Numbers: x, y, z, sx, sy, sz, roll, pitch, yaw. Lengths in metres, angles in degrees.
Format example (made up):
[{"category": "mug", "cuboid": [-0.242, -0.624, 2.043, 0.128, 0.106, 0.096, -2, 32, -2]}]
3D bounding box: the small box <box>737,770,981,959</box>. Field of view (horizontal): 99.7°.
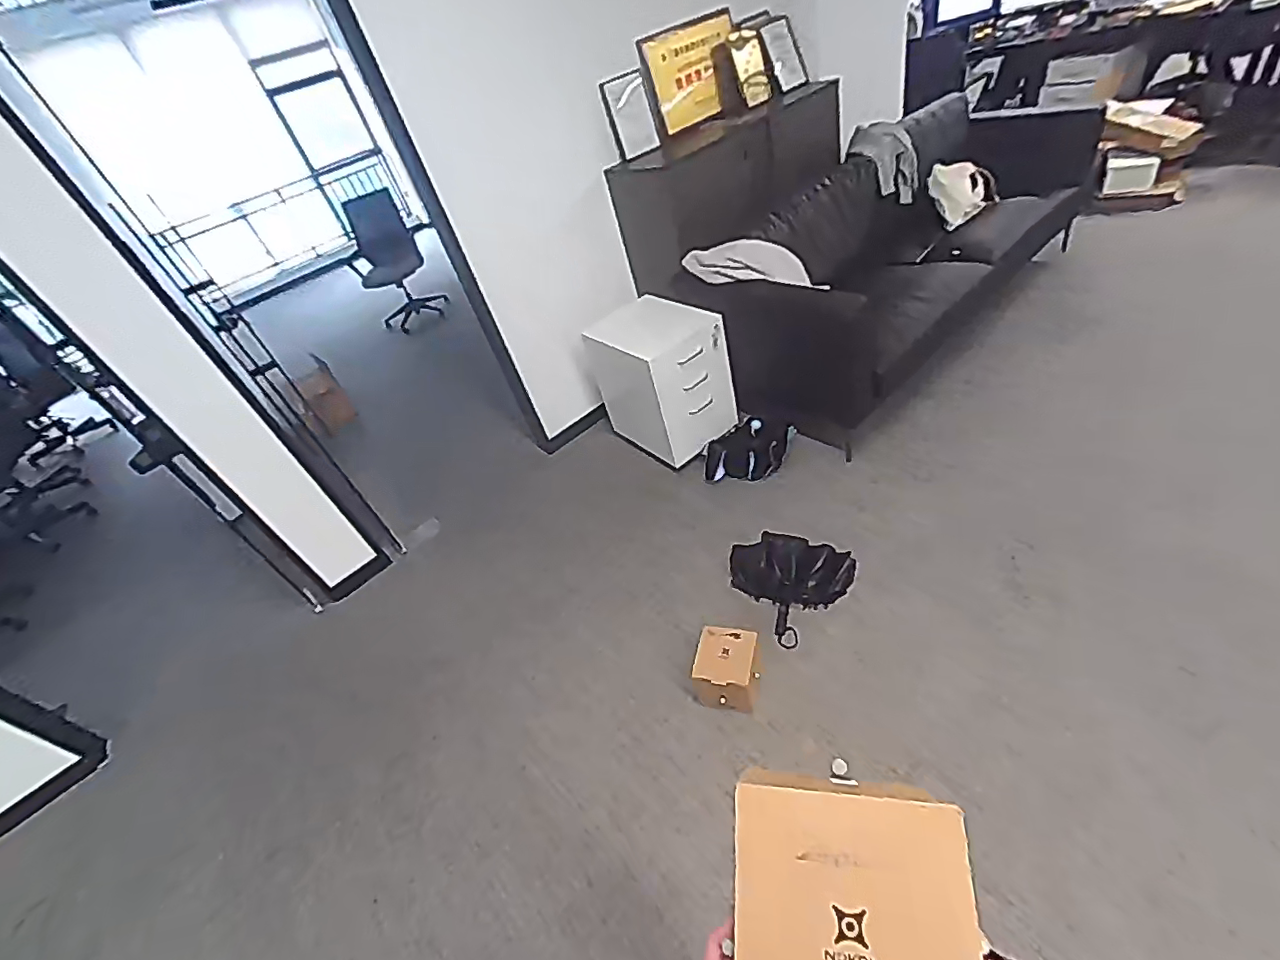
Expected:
[{"category": "small box", "cuboid": [0.169, 0.357, 0.457, 0.168, 0.176, 0.179, -1, 65, 12]}]
